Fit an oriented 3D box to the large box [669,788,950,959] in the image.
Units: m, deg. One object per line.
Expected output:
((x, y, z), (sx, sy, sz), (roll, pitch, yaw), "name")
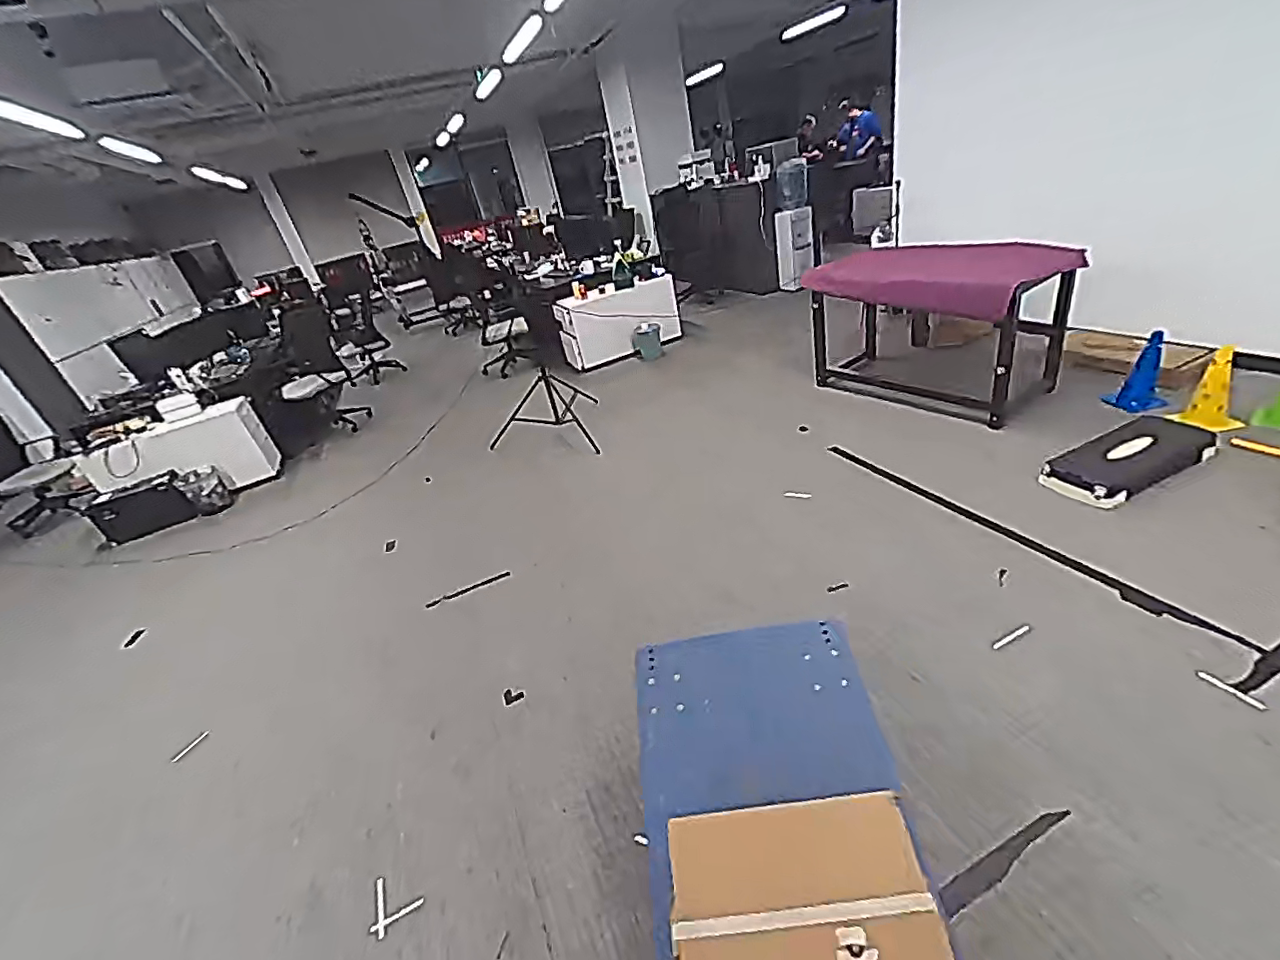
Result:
((0.284, 0.798, 0.978), (0.408, 0.320, 0.320), (-10, 47, 3), "large box")
